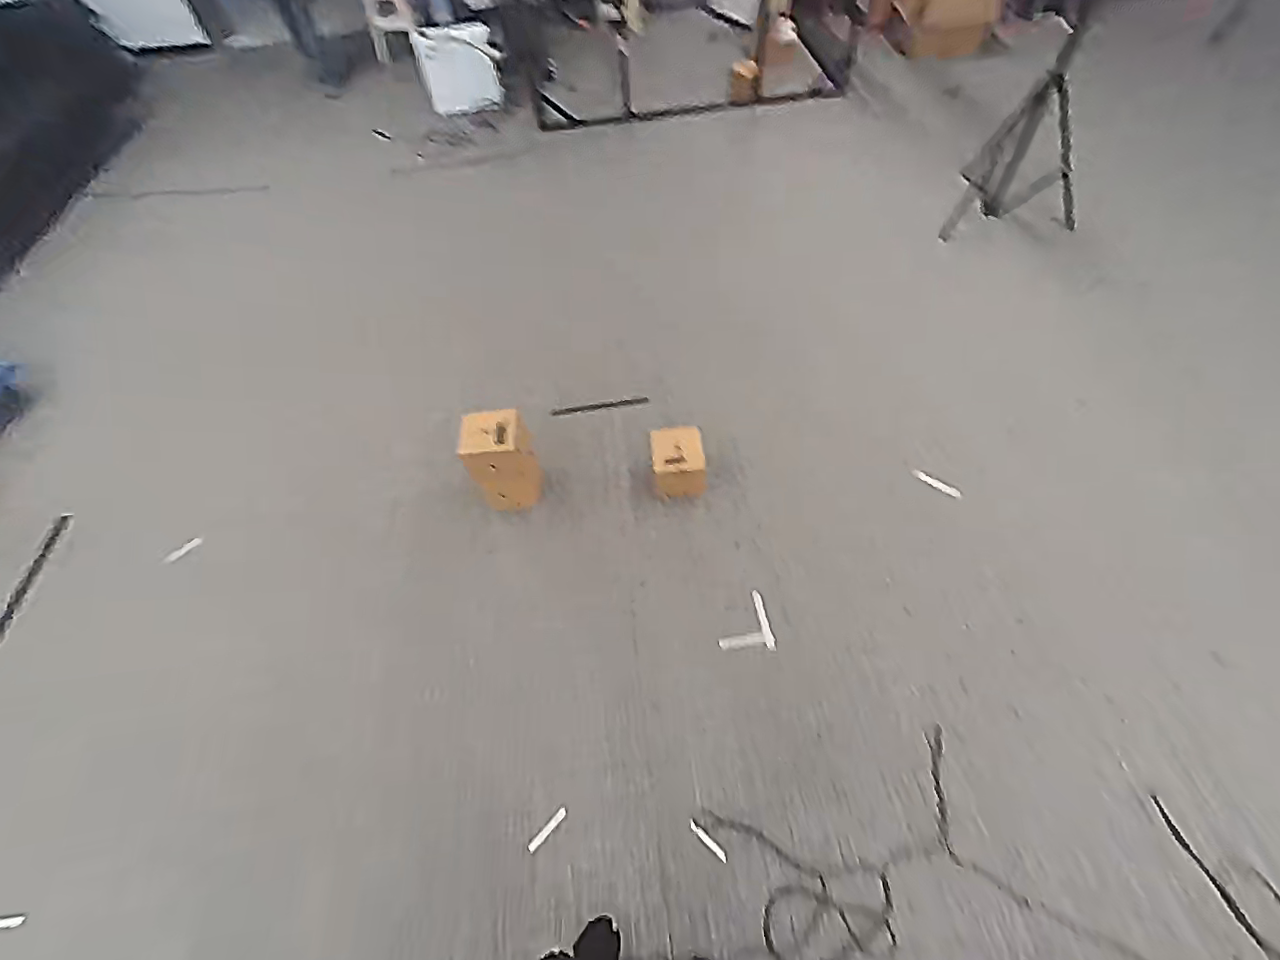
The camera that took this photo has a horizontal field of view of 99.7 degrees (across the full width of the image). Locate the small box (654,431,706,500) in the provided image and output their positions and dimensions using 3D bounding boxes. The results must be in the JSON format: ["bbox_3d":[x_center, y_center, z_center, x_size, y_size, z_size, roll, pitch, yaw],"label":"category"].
[{"bbox_3d":[0.136,-0.043,1.847,0.168,0.176,0.179,-4,55,1],"label":"small box"}]

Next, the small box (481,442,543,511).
[{"bbox_3d":[-0.436,-0.005,1.869,0.168,0.176,0.179,-6,55,1],"label":"small box"}]
